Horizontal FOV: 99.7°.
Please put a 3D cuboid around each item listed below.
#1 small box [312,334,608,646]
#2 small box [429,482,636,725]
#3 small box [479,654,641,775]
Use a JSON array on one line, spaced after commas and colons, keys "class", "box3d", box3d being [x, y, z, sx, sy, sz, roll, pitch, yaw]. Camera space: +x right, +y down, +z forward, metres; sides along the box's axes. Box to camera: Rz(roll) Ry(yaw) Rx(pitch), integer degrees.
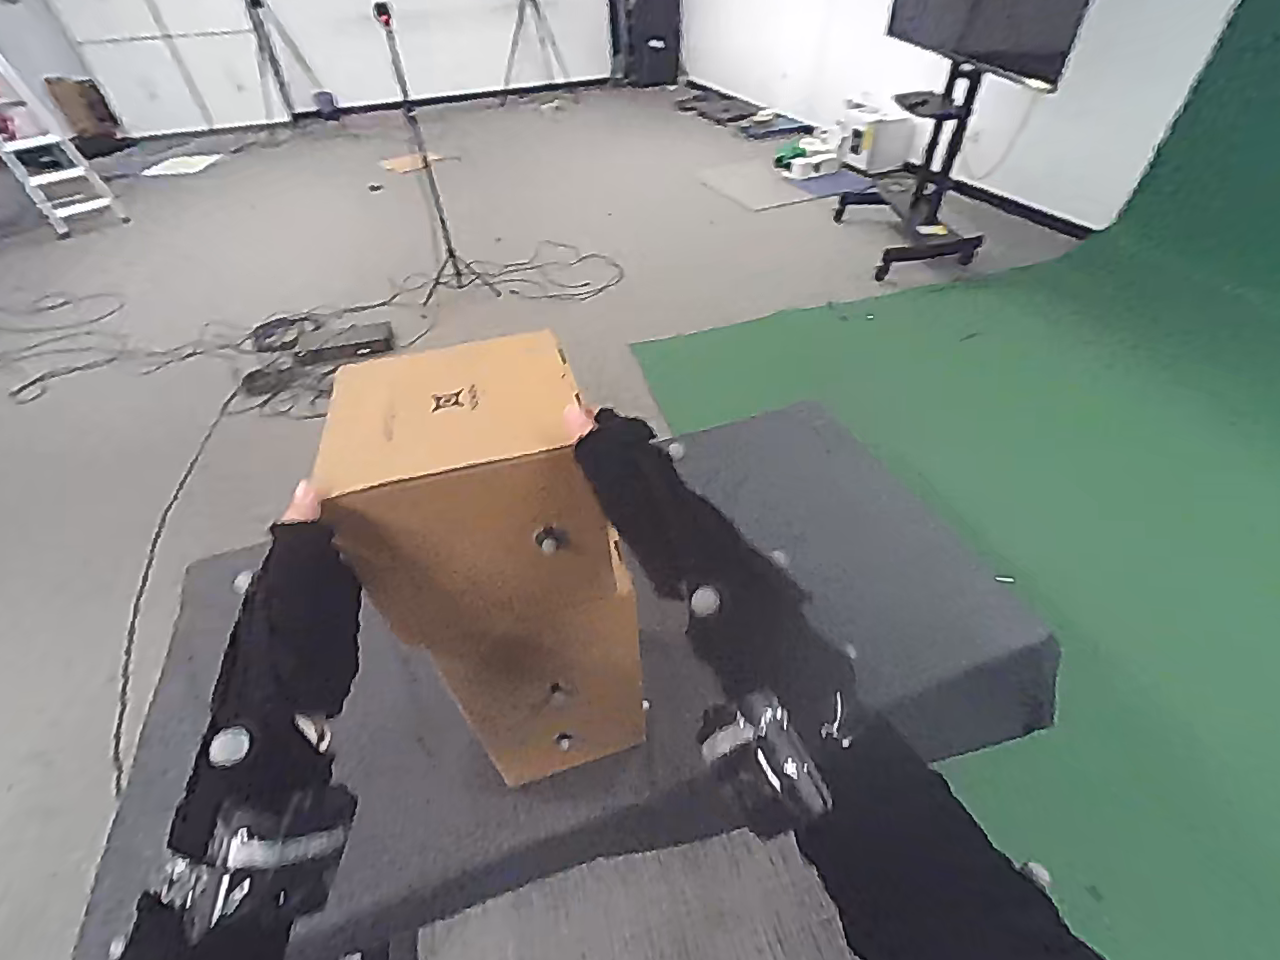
[{"class": "small box", "box3d": [-0.129, 0.007, 0.445, 0.179, 0.176, 0.168, -15, 43, -9]}, {"class": "small box", "box3d": [-0.107, 0.122, 0.560, 0.179, 0.176, 0.168, -13, 43, -10]}, {"class": "small box", "box3d": [-0.099, 0.236, 0.674, 0.179, 0.176, 0.168, -12, 42, -8]}]
